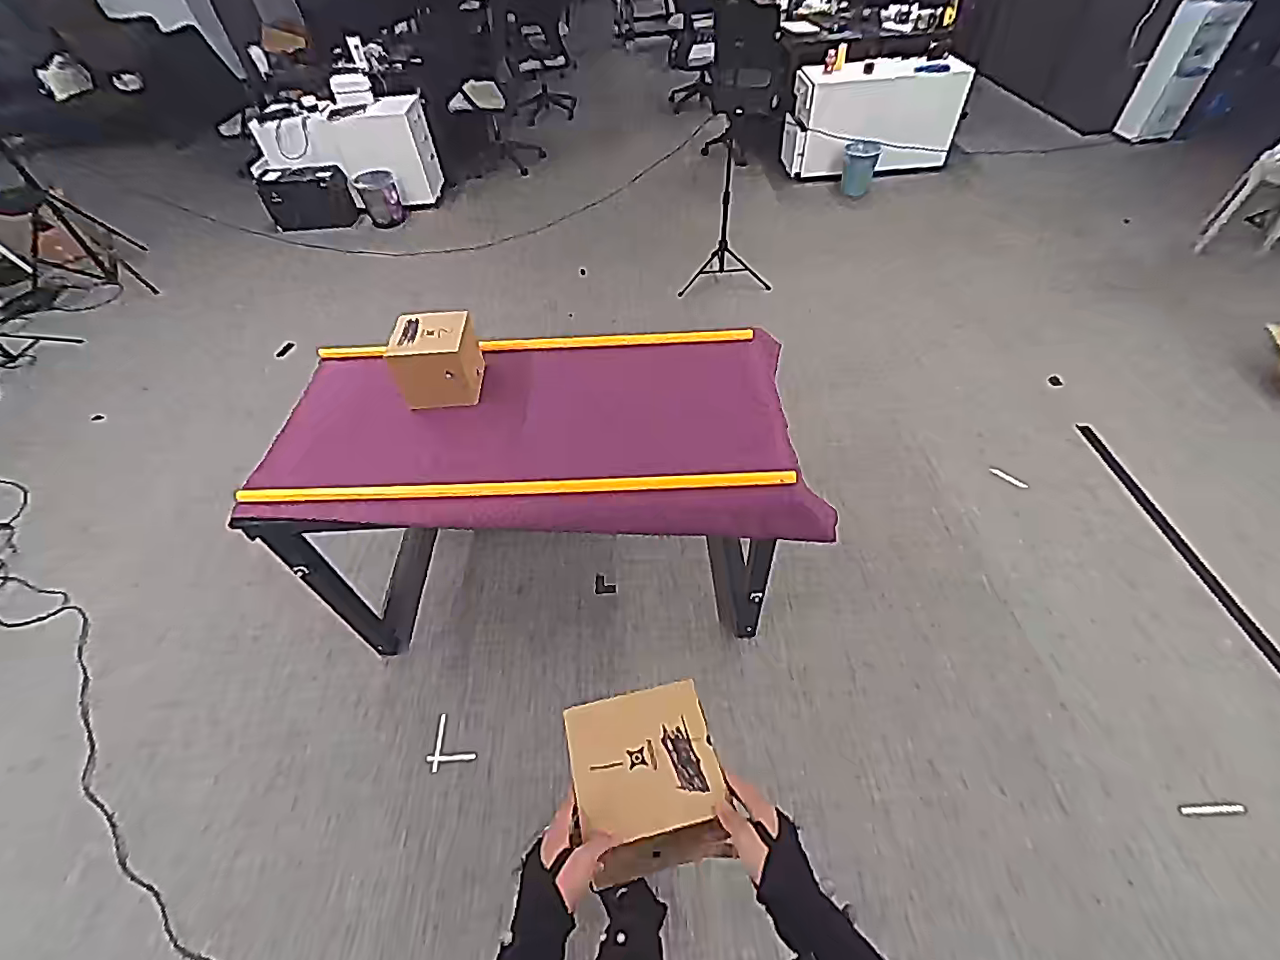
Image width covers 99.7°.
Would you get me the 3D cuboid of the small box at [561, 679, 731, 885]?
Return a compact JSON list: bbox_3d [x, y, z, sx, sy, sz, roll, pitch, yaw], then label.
[{"bbox_3d":[0.002,0.387,0.696,0.179,0.176,0.168,-11,42,-8],"label":"small box"}]
